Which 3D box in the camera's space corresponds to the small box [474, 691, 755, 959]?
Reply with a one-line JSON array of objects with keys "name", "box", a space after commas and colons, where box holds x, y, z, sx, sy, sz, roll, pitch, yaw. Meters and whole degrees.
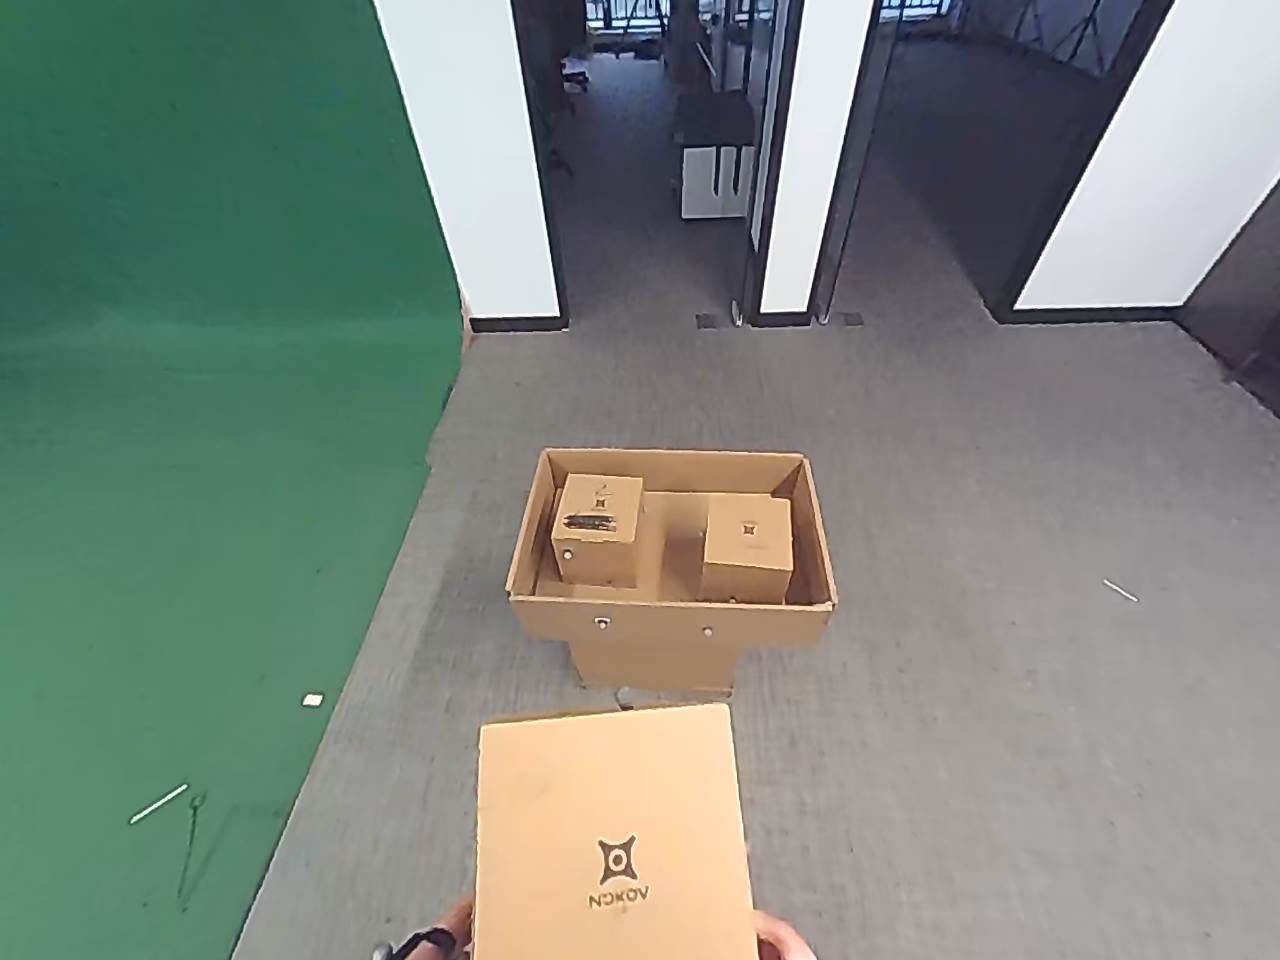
[{"name": "small box", "box": [-0.030, 0.256, 0.401, 0.168, 0.176, 0.179, 0, 70, -11]}]
